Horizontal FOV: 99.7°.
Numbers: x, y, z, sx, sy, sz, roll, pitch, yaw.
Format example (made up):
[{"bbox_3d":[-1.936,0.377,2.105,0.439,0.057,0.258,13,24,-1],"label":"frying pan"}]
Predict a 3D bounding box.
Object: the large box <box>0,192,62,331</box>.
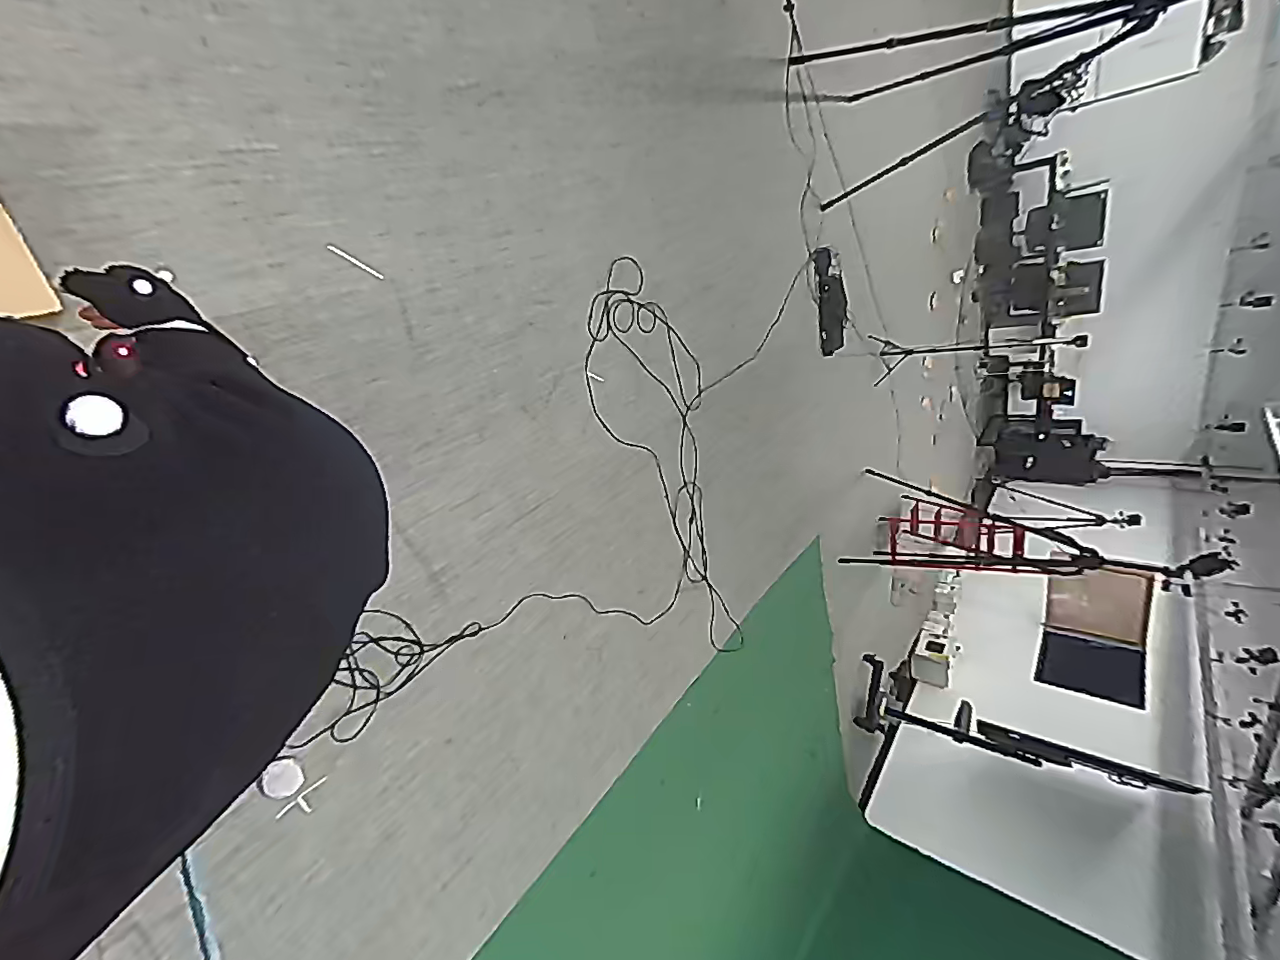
[{"bbox_3d":[-1.148,-0.338,0.738,0.408,0.320,0.320,-34,120,-41],"label":"large box"}]
